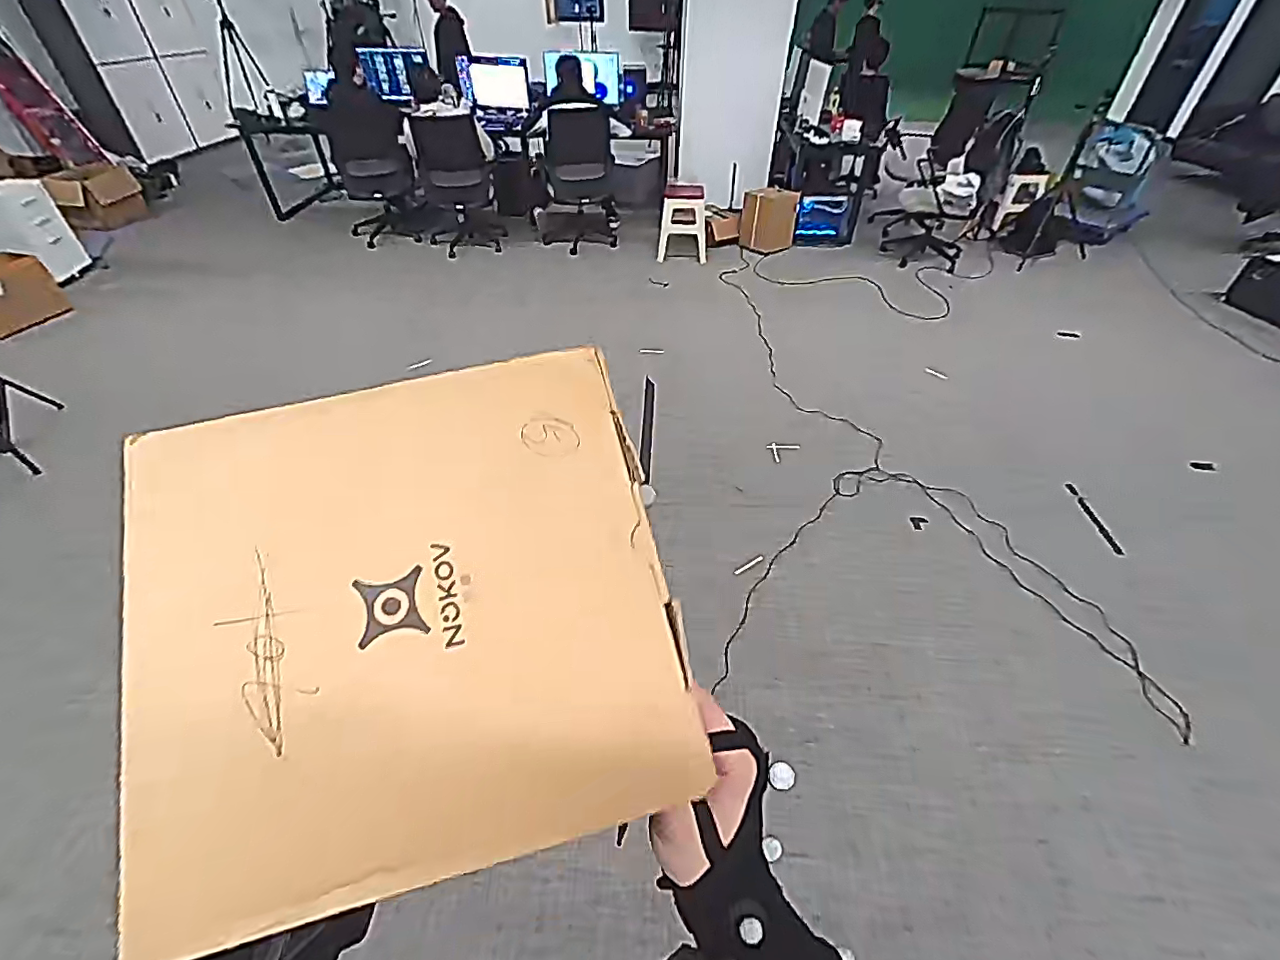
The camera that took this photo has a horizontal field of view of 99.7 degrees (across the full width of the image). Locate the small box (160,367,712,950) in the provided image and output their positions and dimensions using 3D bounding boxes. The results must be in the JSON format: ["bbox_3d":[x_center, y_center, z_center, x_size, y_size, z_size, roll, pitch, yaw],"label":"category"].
[{"bbox_3d":[-0.082,0.071,0.270,0.179,0.176,0.168,-14,72,-7],"label":"small box"}]
